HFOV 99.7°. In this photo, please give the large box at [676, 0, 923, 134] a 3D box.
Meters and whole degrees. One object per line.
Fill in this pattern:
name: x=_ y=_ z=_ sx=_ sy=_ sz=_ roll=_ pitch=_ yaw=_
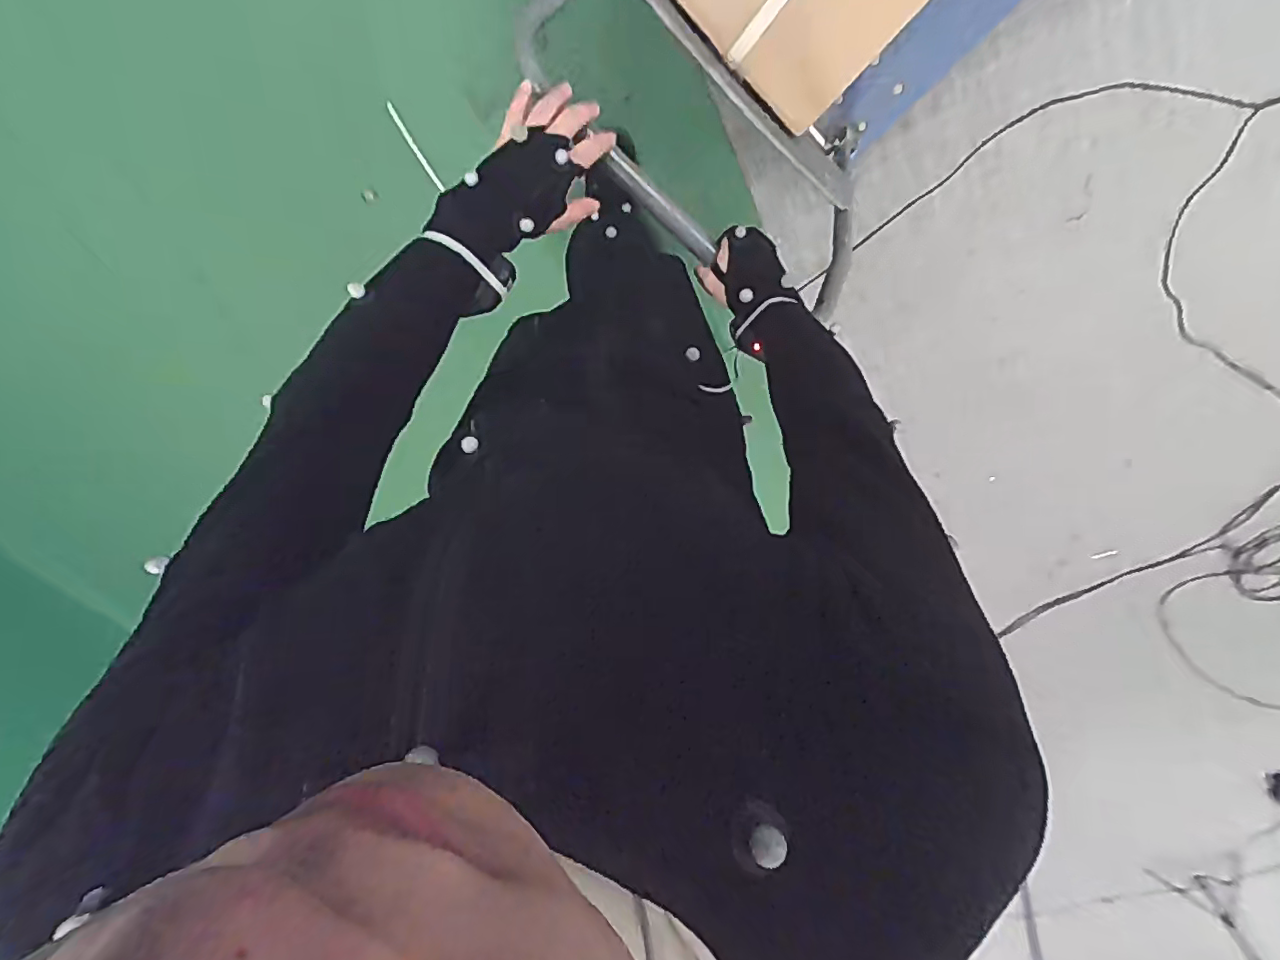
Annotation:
large box: x=0.289 y=-0.831 z=0.801 sx=0.320 sy=0.320 sz=0.408 roll=36 pitch=132 yaw=-20
